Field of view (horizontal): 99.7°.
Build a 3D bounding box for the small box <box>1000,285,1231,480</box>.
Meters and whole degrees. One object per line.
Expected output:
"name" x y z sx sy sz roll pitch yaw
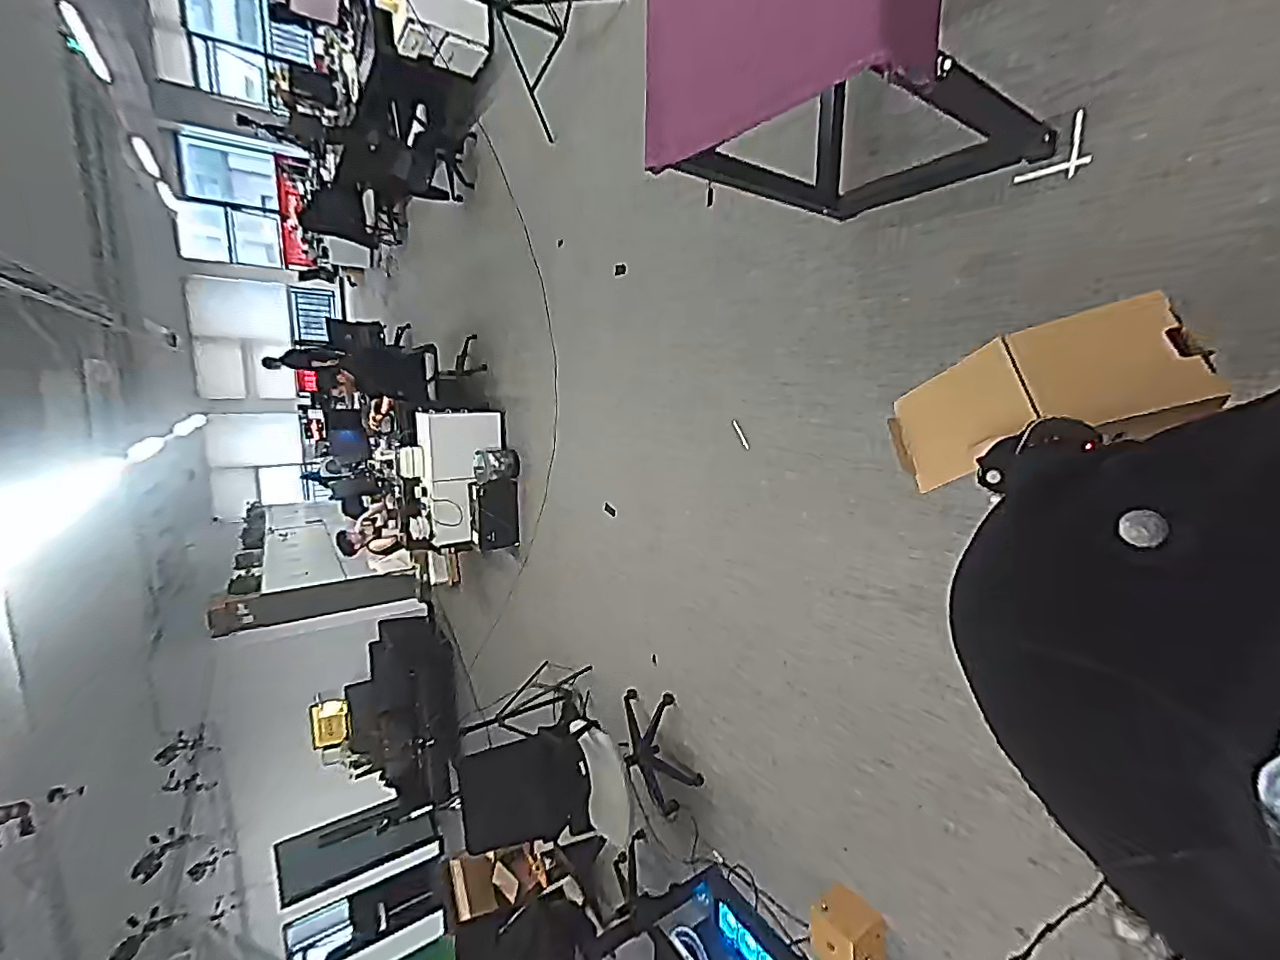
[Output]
"small box" 0.601 -0.115 0.718 0.179 0.176 0.168 -15 61 24
